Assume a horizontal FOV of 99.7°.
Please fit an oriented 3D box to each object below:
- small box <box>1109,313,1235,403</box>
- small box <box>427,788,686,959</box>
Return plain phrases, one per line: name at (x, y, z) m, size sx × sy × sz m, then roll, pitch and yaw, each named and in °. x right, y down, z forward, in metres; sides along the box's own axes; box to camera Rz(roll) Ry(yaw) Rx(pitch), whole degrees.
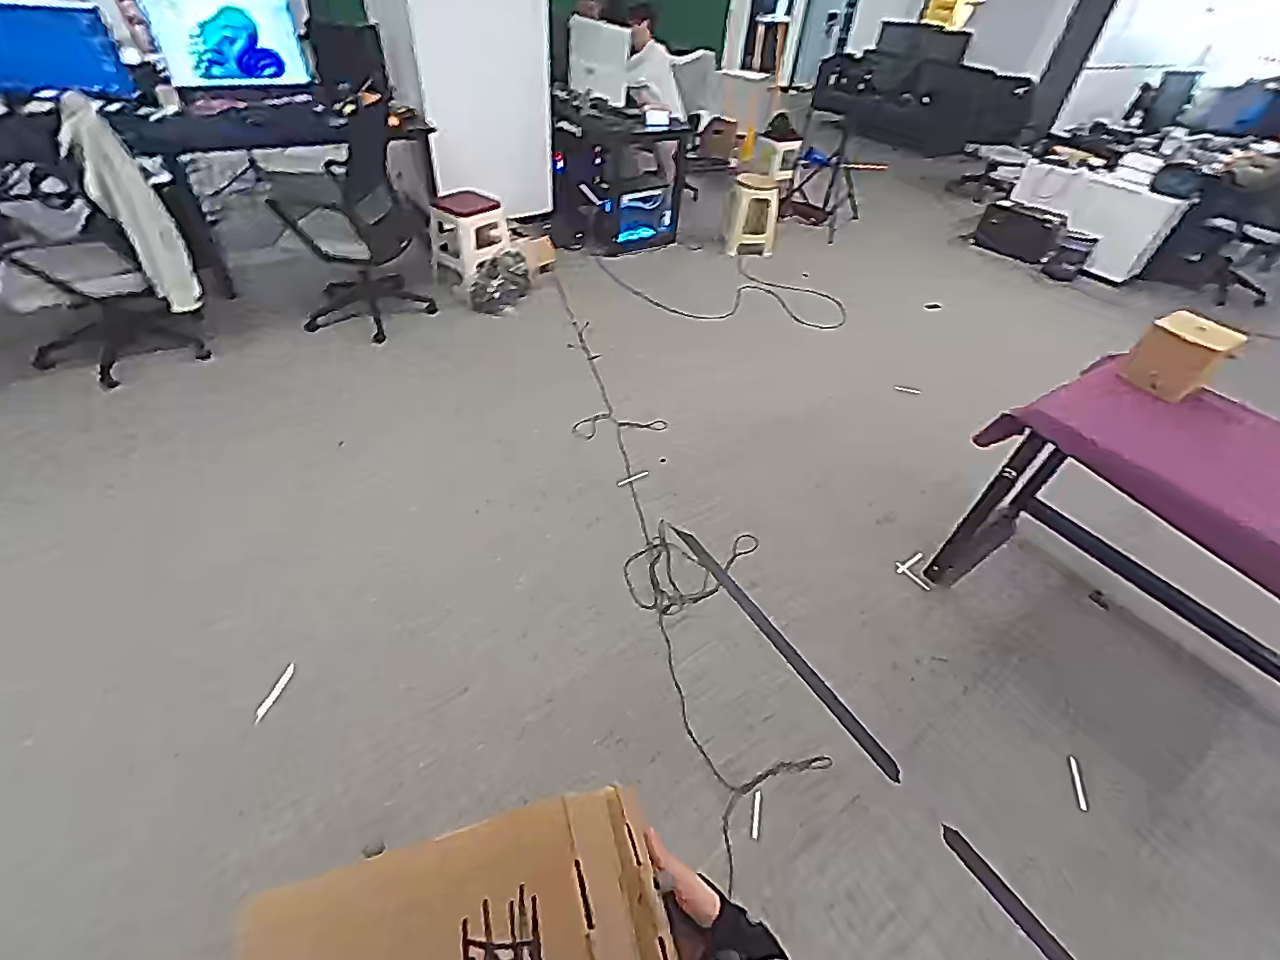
small box at (1.507, -0.348, 1.546) m, size 0.179 × 0.176 × 0.168 m, roll -21°, pitch 50°, yaw -23°
small box at (-0.059, 0.380, 0.462) m, size 0.179 × 0.176 × 0.168 m, roll -16°, pitch 59°, yaw -7°
